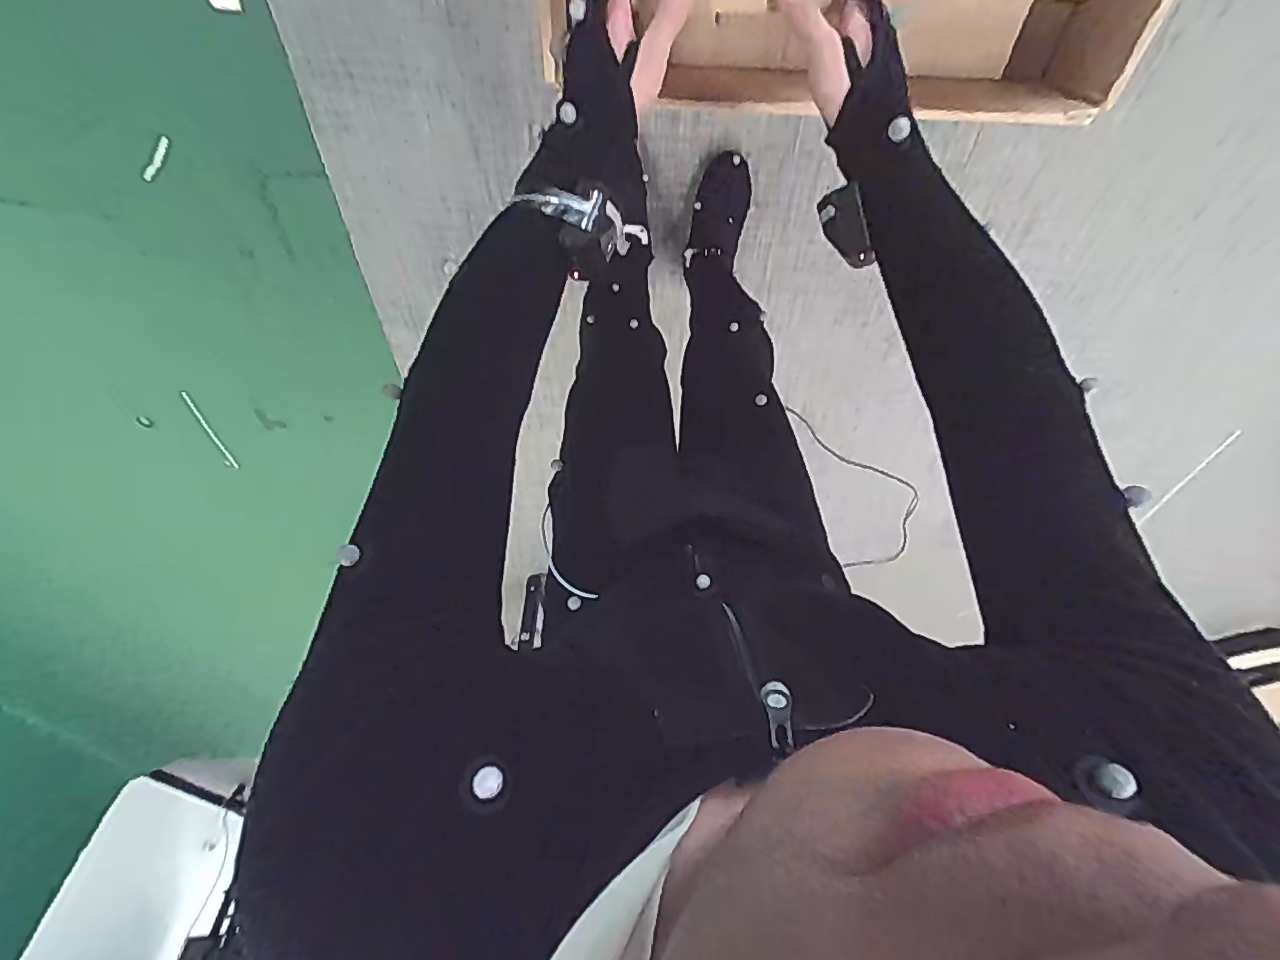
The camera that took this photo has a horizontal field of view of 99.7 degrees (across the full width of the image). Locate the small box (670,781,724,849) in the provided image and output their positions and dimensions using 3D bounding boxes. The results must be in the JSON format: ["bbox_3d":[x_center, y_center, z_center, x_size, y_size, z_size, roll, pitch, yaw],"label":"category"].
[{"bbox_3d":[0.189,1.138,1.839,0.168,0.176,0.179,-1,137,1],"label":"small box"}]

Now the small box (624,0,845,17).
[{"bbox_3d":[0.074,-0.482,0.417,0.179,0.176,0.168,-1,140,-2],"label":"small box"}]
